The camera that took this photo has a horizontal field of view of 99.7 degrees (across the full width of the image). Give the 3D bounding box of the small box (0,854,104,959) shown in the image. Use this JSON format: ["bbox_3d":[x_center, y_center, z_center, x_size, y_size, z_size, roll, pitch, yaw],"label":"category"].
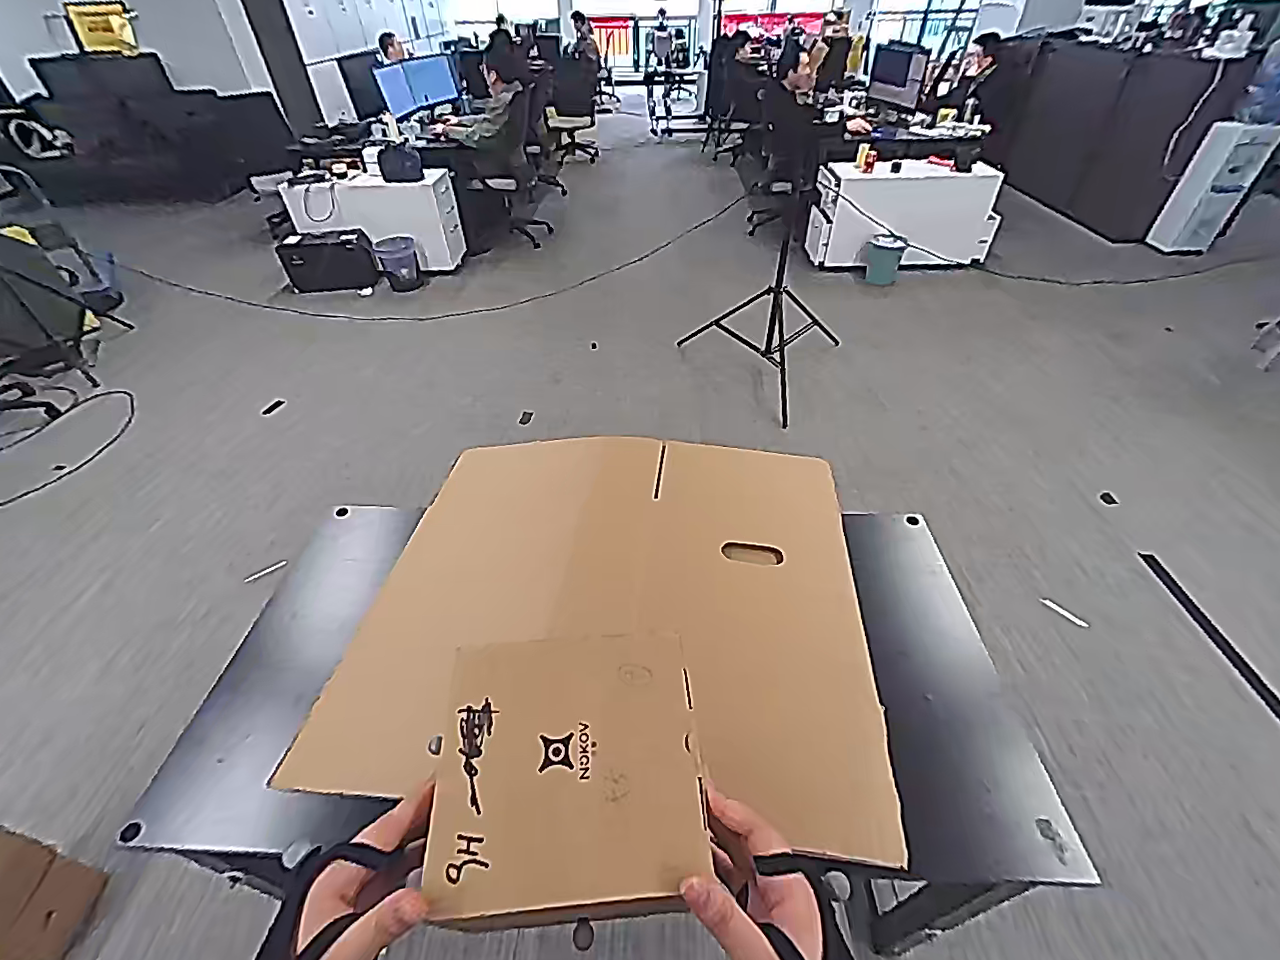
[{"bbox_3d":[-1.319,0.926,1.154,0.168,0.176,0.179,-2,43,-1],"label":"small box"}]

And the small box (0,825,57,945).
[{"bbox_3d":[-1.322,0.801,1.049,0.168,0.176,0.179,-4,41,-3],"label":"small box"}]
